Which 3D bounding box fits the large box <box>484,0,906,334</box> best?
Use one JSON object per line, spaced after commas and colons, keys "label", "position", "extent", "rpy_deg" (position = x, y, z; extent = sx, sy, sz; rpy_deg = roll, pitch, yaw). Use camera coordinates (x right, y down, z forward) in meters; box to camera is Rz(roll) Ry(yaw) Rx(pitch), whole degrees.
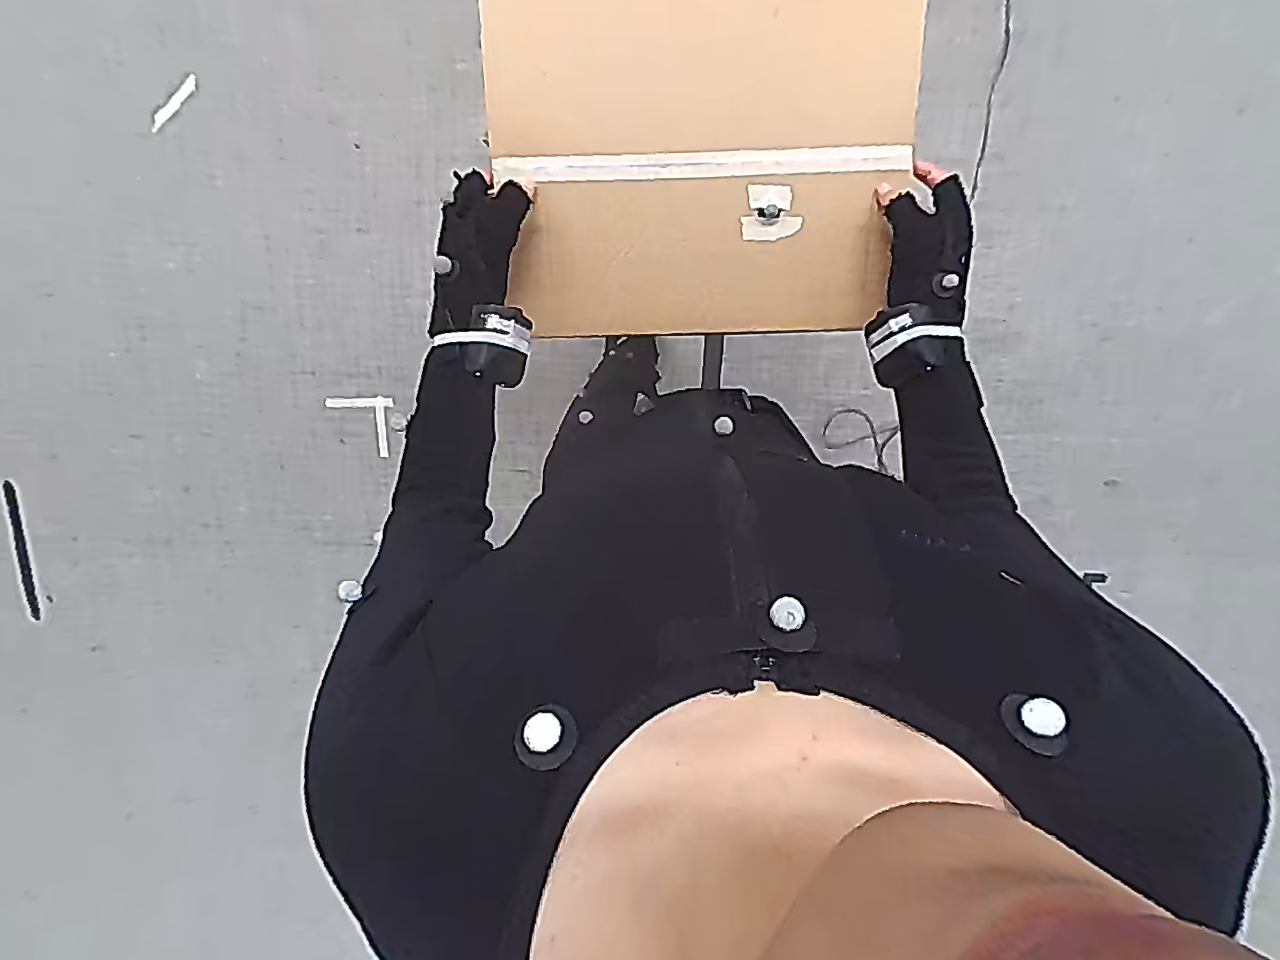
{"label": "large box", "position": [0.055, -0.356, 0.682], "extent": [0.408, 0.320, 0.320], "rpy_deg": [-2, 105, 0]}
